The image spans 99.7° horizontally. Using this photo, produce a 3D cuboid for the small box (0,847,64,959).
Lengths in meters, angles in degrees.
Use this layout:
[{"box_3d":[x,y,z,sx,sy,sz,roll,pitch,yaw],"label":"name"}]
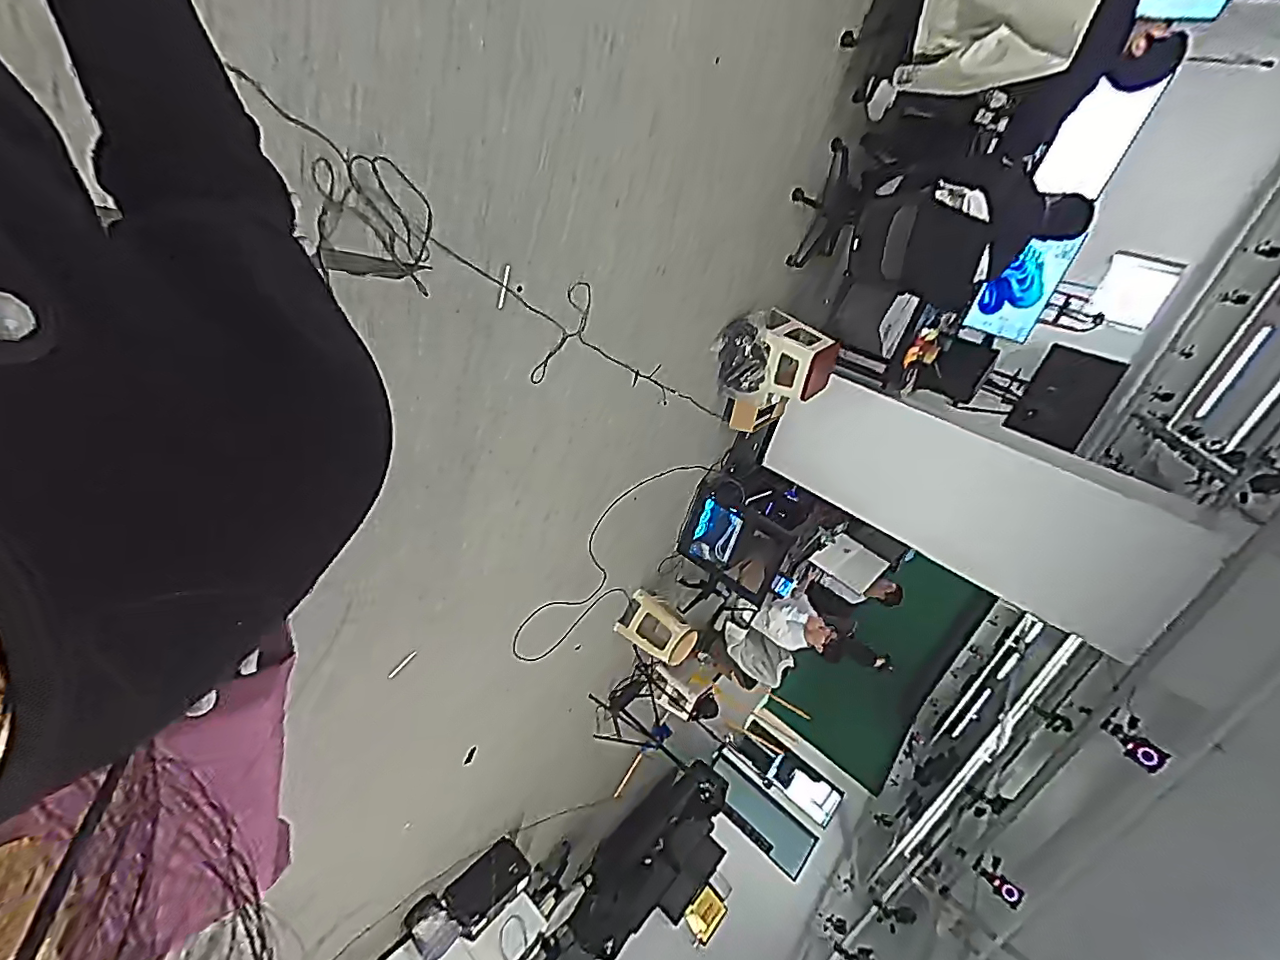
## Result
[{"box_3d":[-0.872,0.621,0.692,0.168,0.176,0.179,-13,129,-52],"label":"small box"}]
